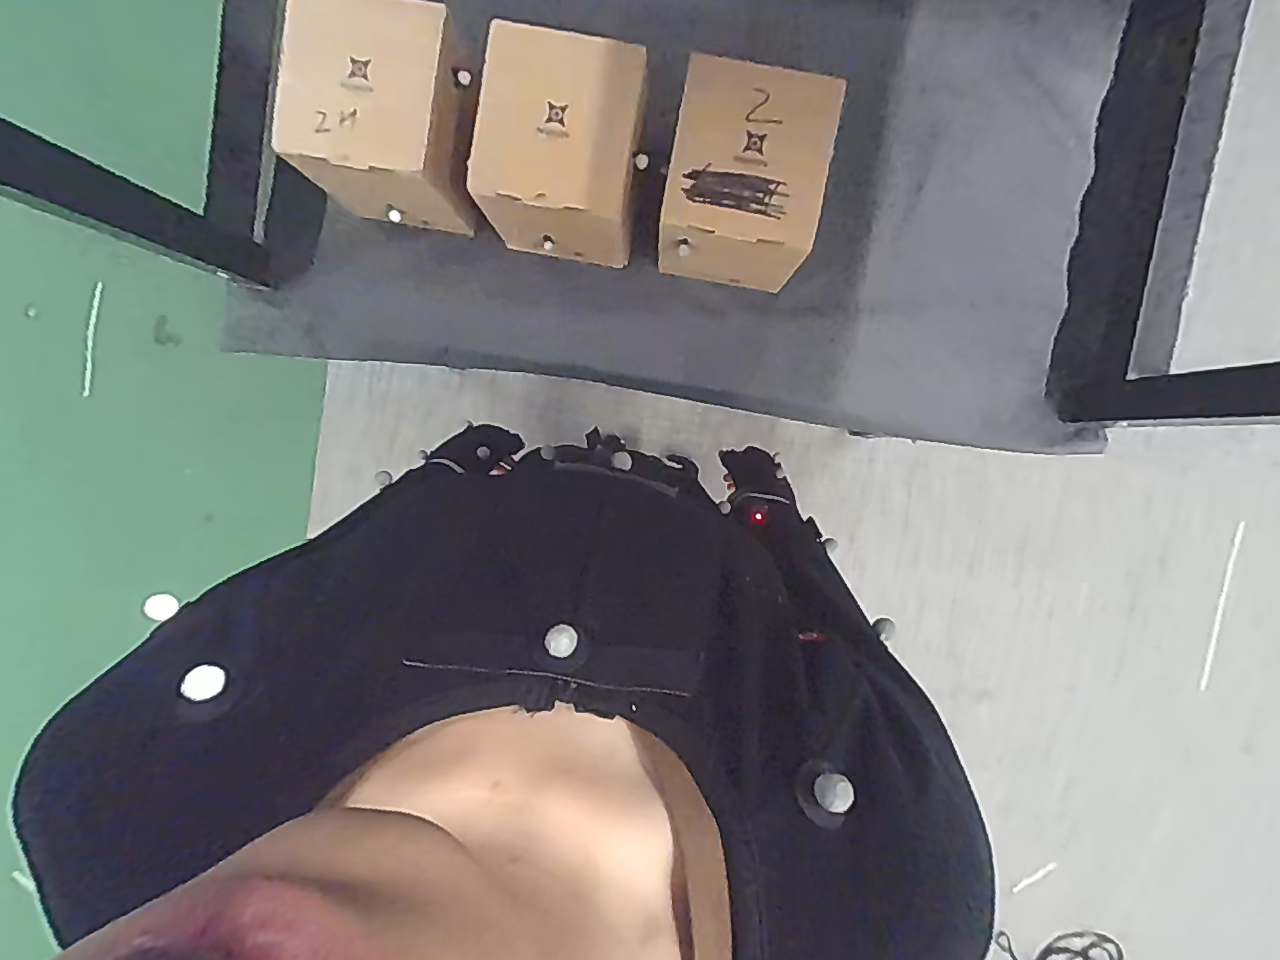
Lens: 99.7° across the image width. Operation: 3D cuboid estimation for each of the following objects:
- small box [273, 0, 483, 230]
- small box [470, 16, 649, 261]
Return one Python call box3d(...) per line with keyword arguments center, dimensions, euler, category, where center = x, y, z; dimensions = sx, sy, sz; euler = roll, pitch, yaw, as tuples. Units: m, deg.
box3d(center=(-0.290, -0.428, 0.642), dimensions=(0.168, 0.176, 0.179), euler=(10, 94, 0), category="small box")
box3d(center=(-0.086, -0.387, 0.646), dimensions=(0.168, 0.176, 0.179), euler=(10, 95, -1), category="small box")
